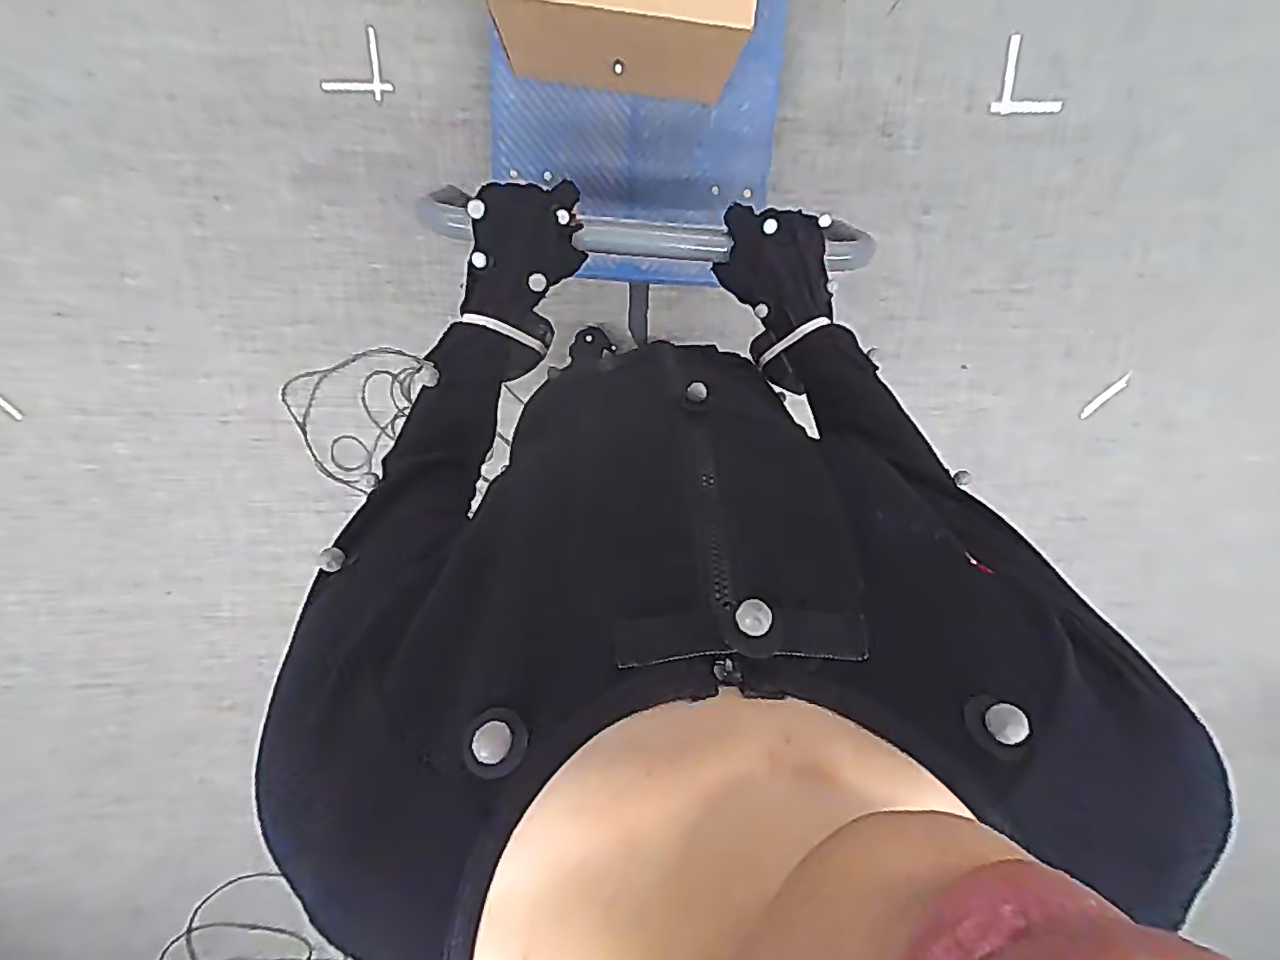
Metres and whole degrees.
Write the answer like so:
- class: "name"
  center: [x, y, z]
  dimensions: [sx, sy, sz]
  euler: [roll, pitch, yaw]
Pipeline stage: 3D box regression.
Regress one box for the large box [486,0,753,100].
- class: "large box"
  center: [-0.024, -0.883, 0.905]
  dimensions: [0.408, 0.320, 0.320]
  euler: [5, 106, -4]
